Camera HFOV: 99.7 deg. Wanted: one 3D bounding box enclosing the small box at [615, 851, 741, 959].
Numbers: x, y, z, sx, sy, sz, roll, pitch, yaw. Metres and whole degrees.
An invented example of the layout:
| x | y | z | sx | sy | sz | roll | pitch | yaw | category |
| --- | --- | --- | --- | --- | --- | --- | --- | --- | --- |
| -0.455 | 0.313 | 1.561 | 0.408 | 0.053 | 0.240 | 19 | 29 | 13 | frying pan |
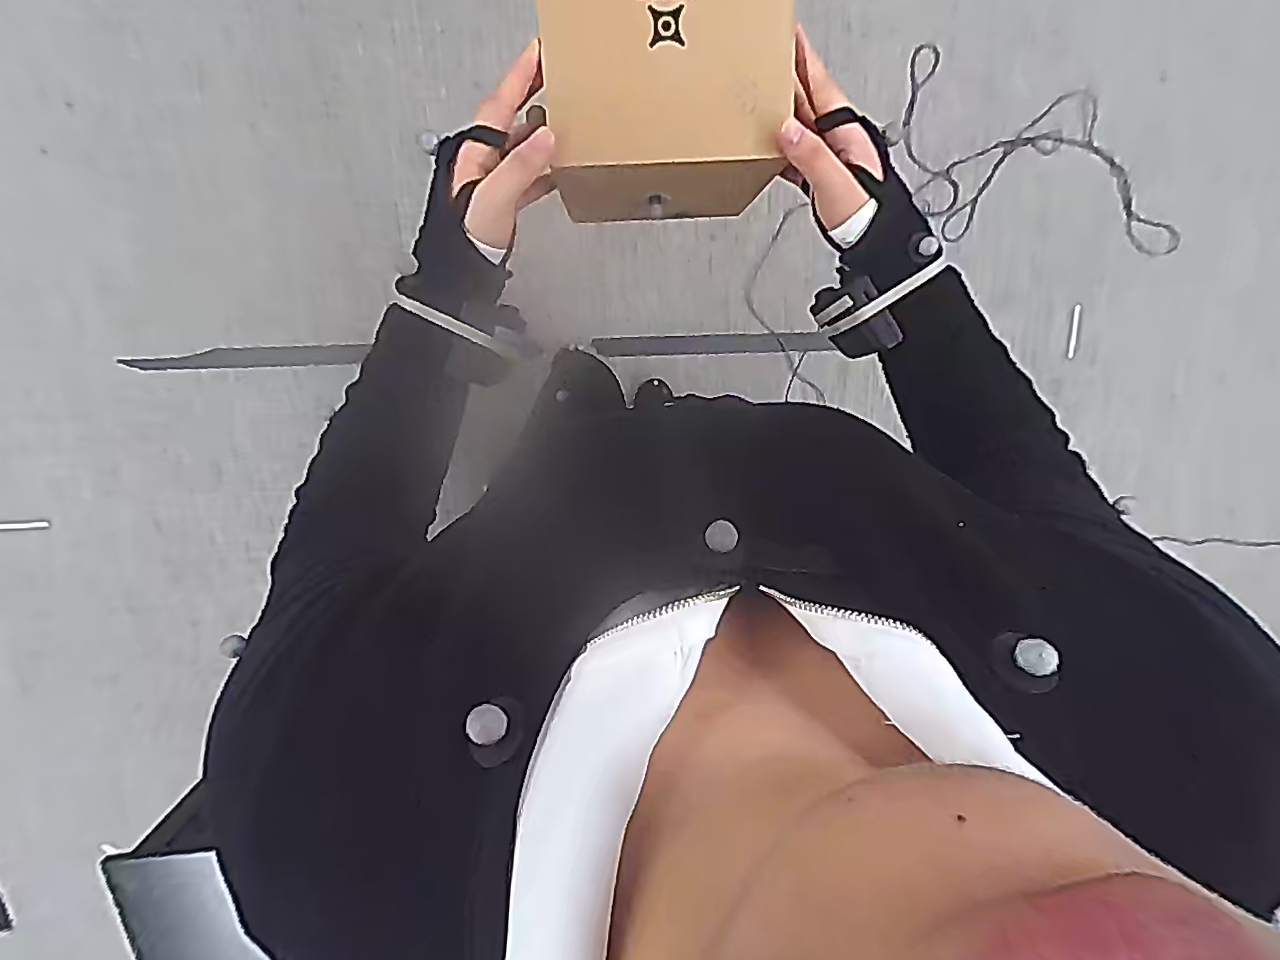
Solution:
| x | y | z | sx | sy | sz | roll | pitch | yaw | category |
| --- | --- | --- | --- | --- | --- | --- | --- | --- | --- |
| 0.058 | 0.719 | 0.834 | 0.179 | 0.176 | 0.168 | -9 | 104 | -2 | small box |
